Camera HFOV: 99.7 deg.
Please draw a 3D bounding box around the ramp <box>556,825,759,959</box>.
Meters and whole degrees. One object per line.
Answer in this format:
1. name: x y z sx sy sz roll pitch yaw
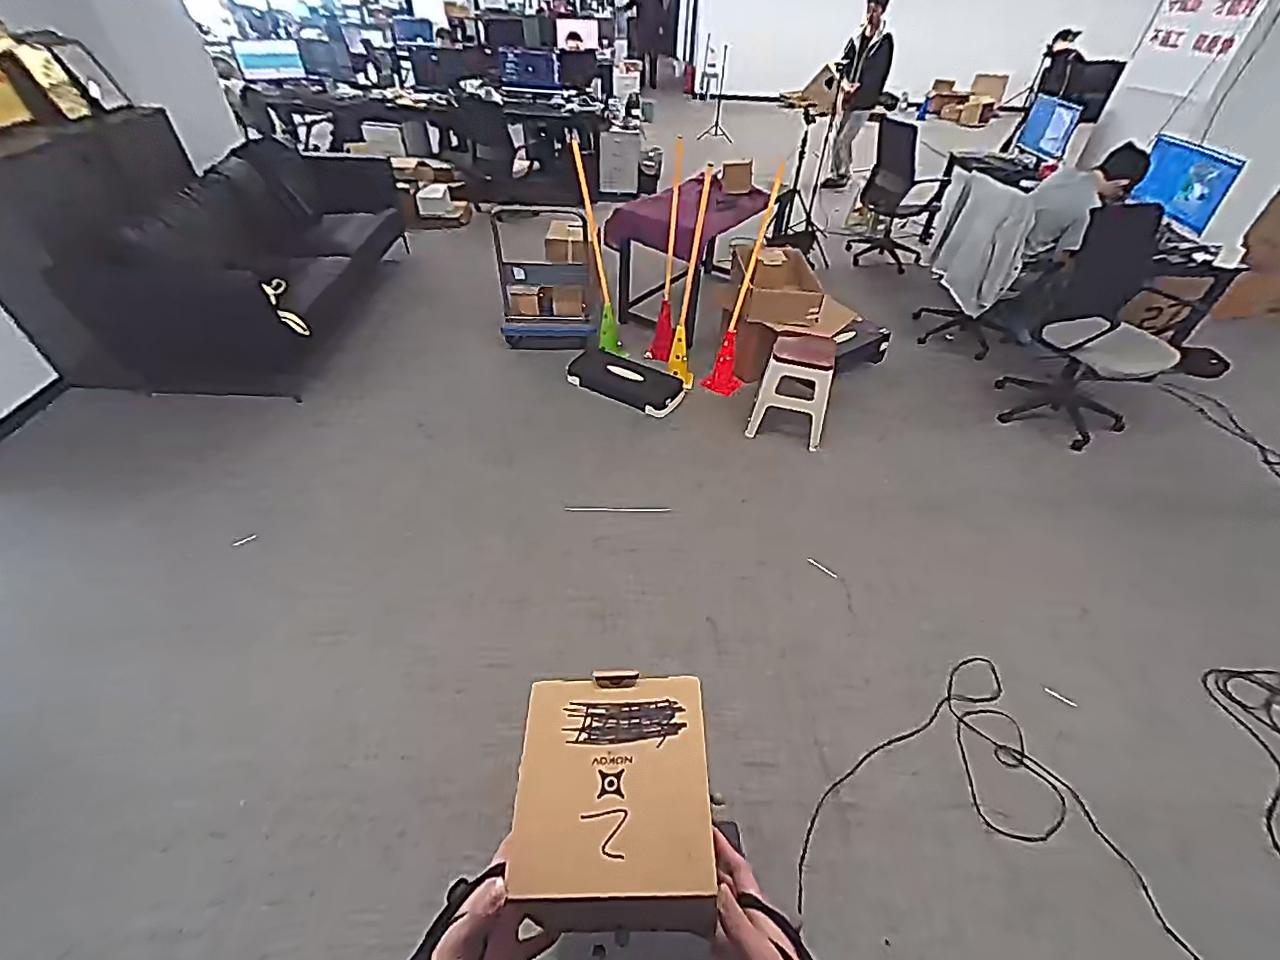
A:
1. ramp: 0.046 1.260 1.122 0.509 0.206 0.991 -1 43 -2
